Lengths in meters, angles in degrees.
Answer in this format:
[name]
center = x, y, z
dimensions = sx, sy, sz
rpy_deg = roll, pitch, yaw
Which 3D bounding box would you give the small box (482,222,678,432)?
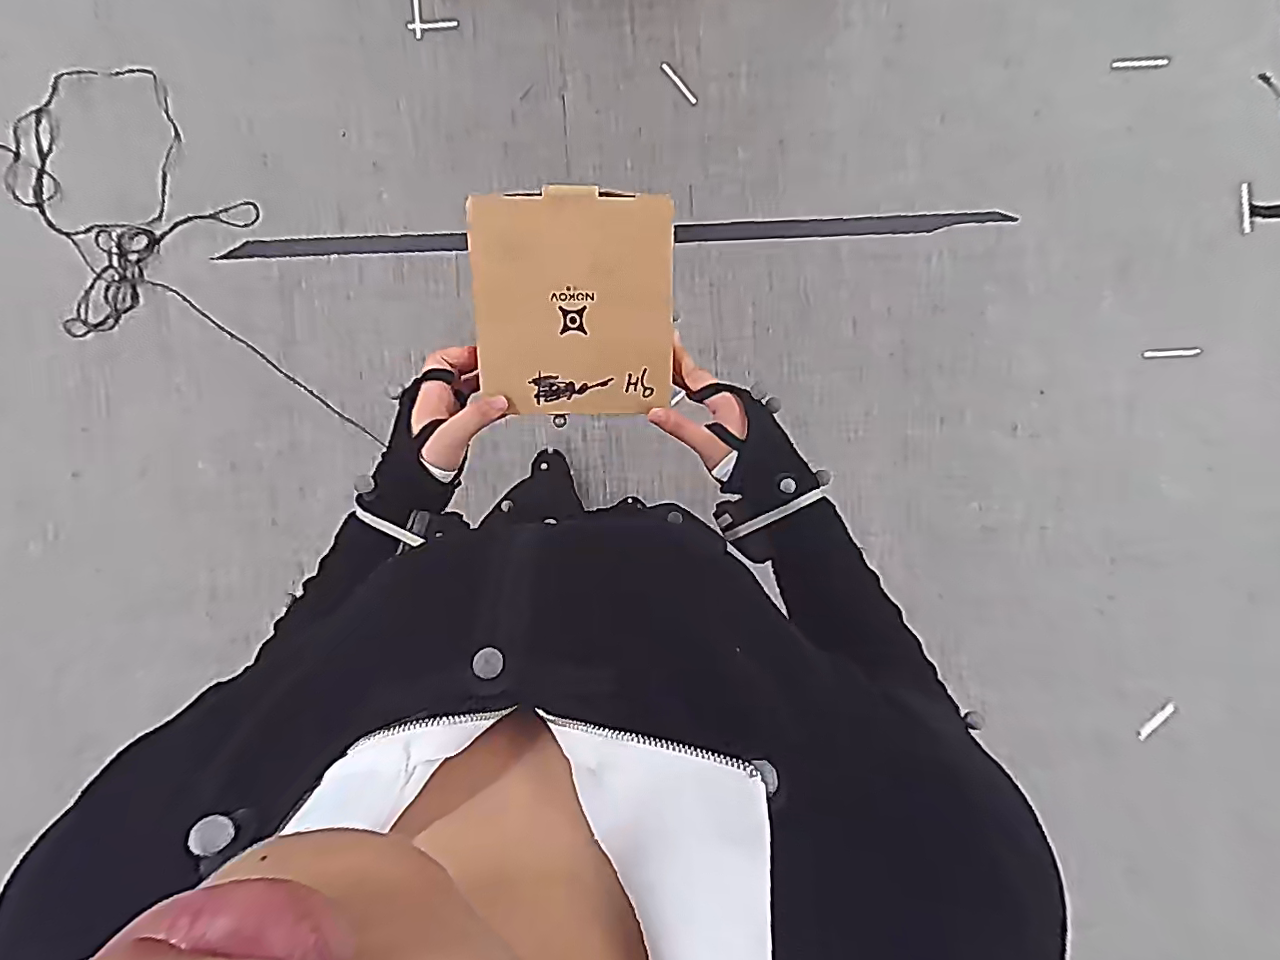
[small box]
center = -0.054, -0.145, 0.543
dimensions = 0.168, 0.176, 0.179
rpy_deg = -1, 103, -2
